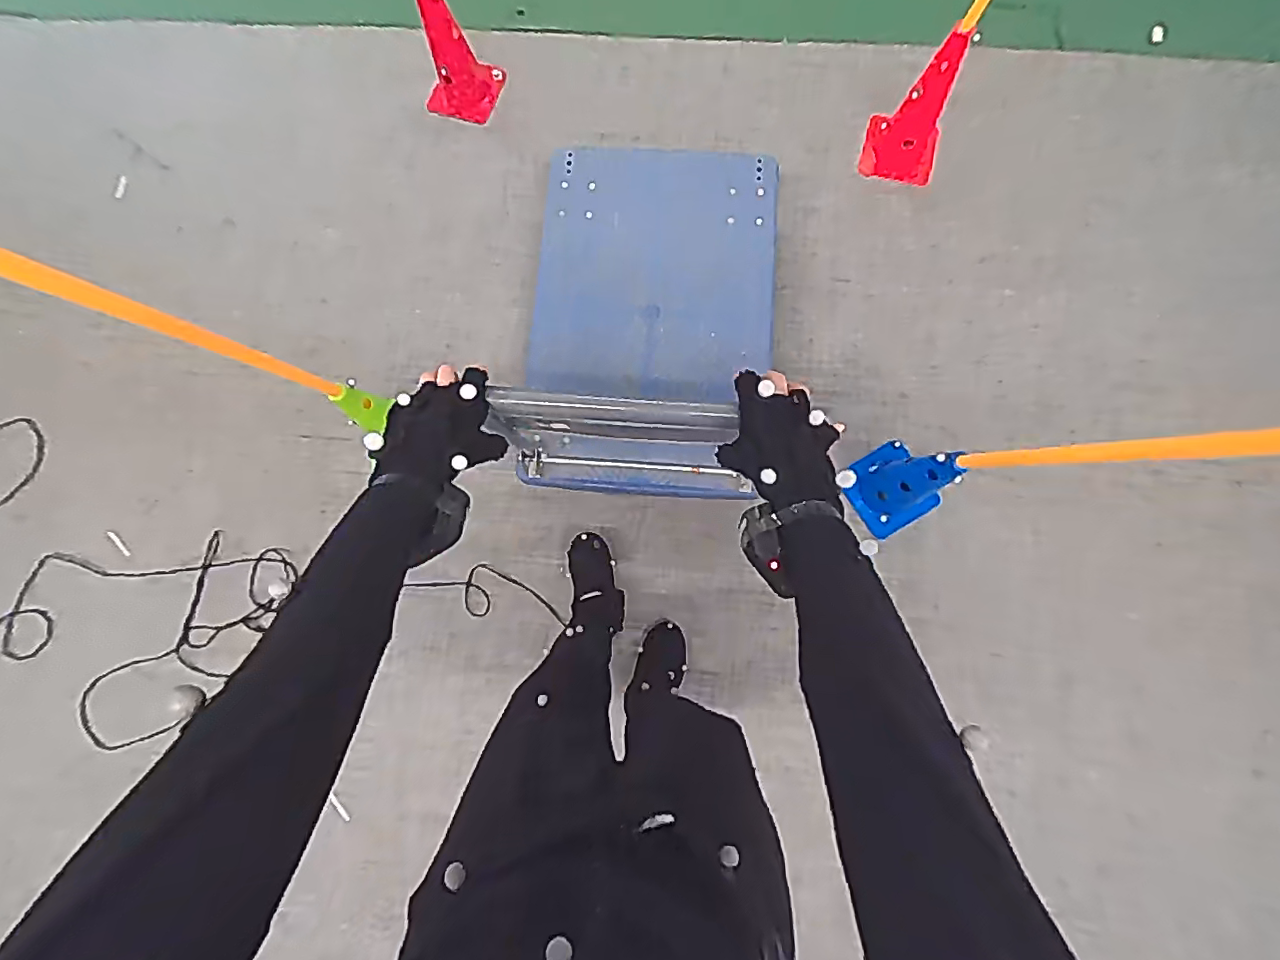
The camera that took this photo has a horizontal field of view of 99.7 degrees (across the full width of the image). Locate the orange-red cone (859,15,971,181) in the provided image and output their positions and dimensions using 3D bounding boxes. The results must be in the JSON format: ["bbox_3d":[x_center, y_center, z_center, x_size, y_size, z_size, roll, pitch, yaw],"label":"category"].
[{"bbox_3d":[0.720,-0.970,1.354,0.198,0.360,0.199,16,82,7],"label":"orange-red cone"}]
